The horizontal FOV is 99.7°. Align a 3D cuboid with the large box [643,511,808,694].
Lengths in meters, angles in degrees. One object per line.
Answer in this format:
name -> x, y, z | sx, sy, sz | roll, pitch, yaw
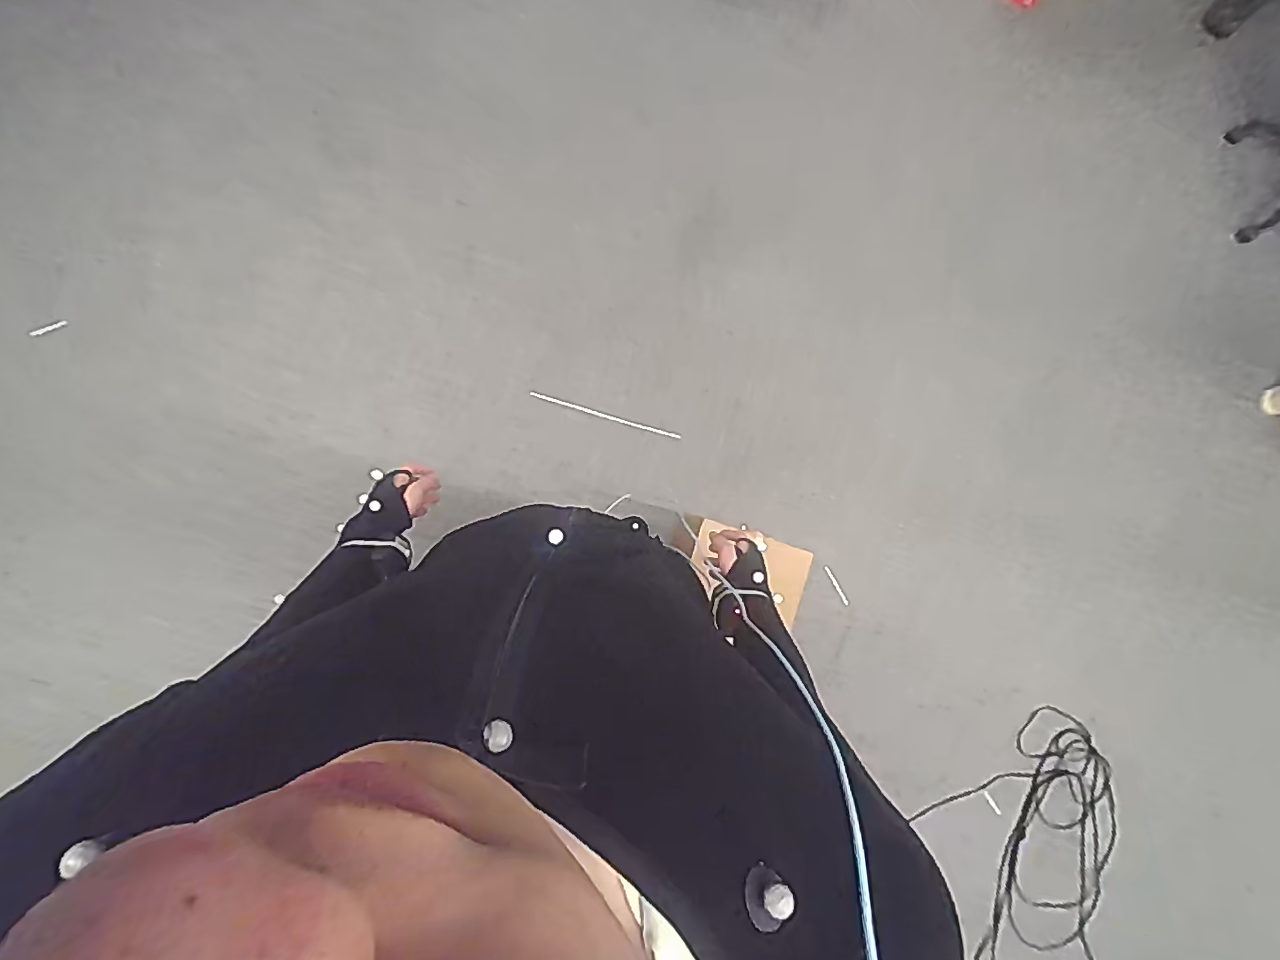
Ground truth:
large box -> 0.226, 0.324, 1.541 | 0.320, 0.320, 0.408 | 18, 88, -6
